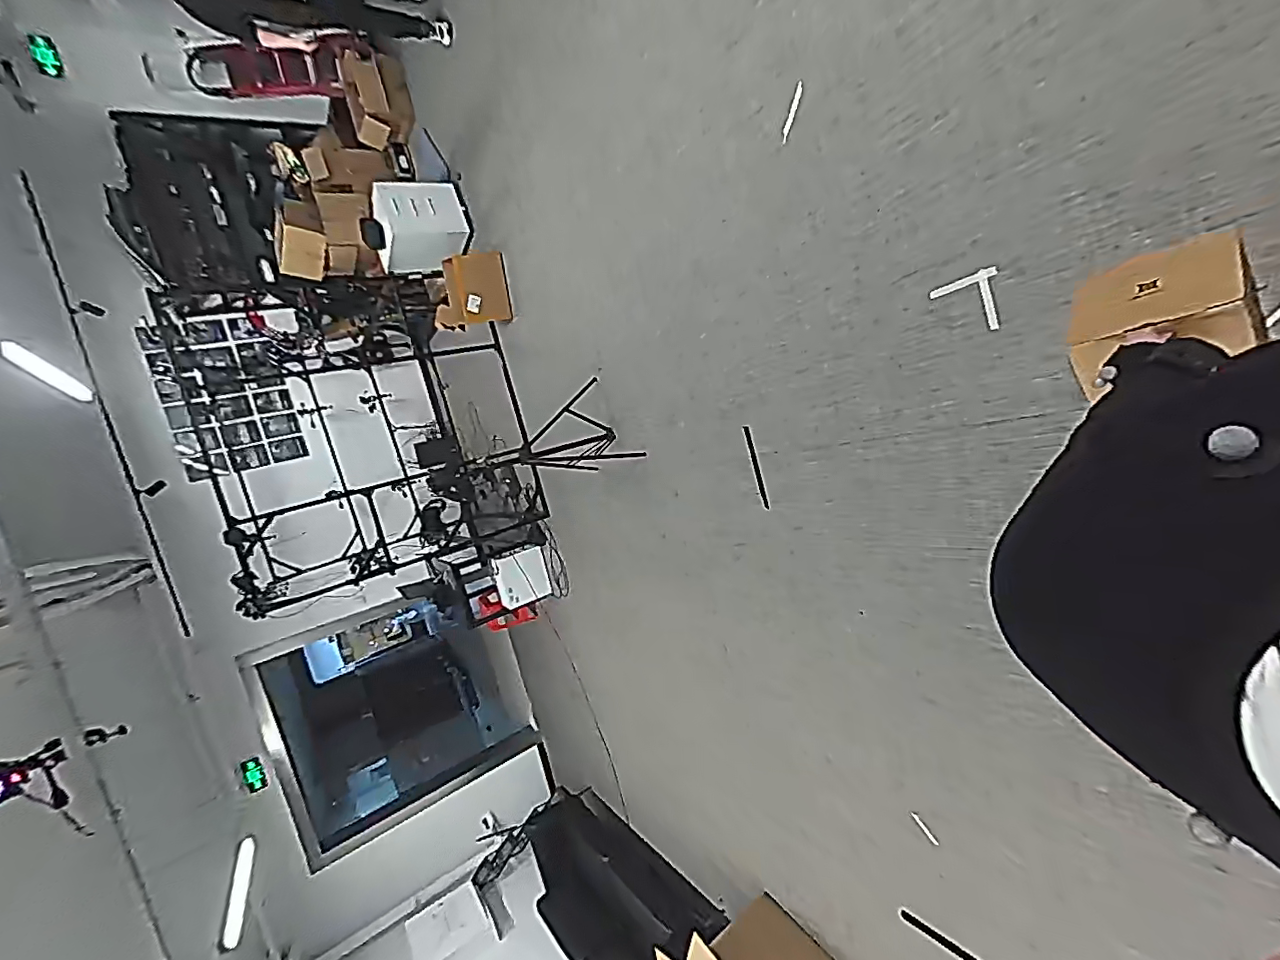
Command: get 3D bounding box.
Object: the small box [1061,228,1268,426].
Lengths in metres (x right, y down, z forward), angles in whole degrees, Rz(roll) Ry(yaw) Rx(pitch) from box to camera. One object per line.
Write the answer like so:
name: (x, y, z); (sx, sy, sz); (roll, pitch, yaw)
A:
small box: (0.706, -0.189, 0.730); (0.176, 0.179, 0.168); (47, 149, -22)
